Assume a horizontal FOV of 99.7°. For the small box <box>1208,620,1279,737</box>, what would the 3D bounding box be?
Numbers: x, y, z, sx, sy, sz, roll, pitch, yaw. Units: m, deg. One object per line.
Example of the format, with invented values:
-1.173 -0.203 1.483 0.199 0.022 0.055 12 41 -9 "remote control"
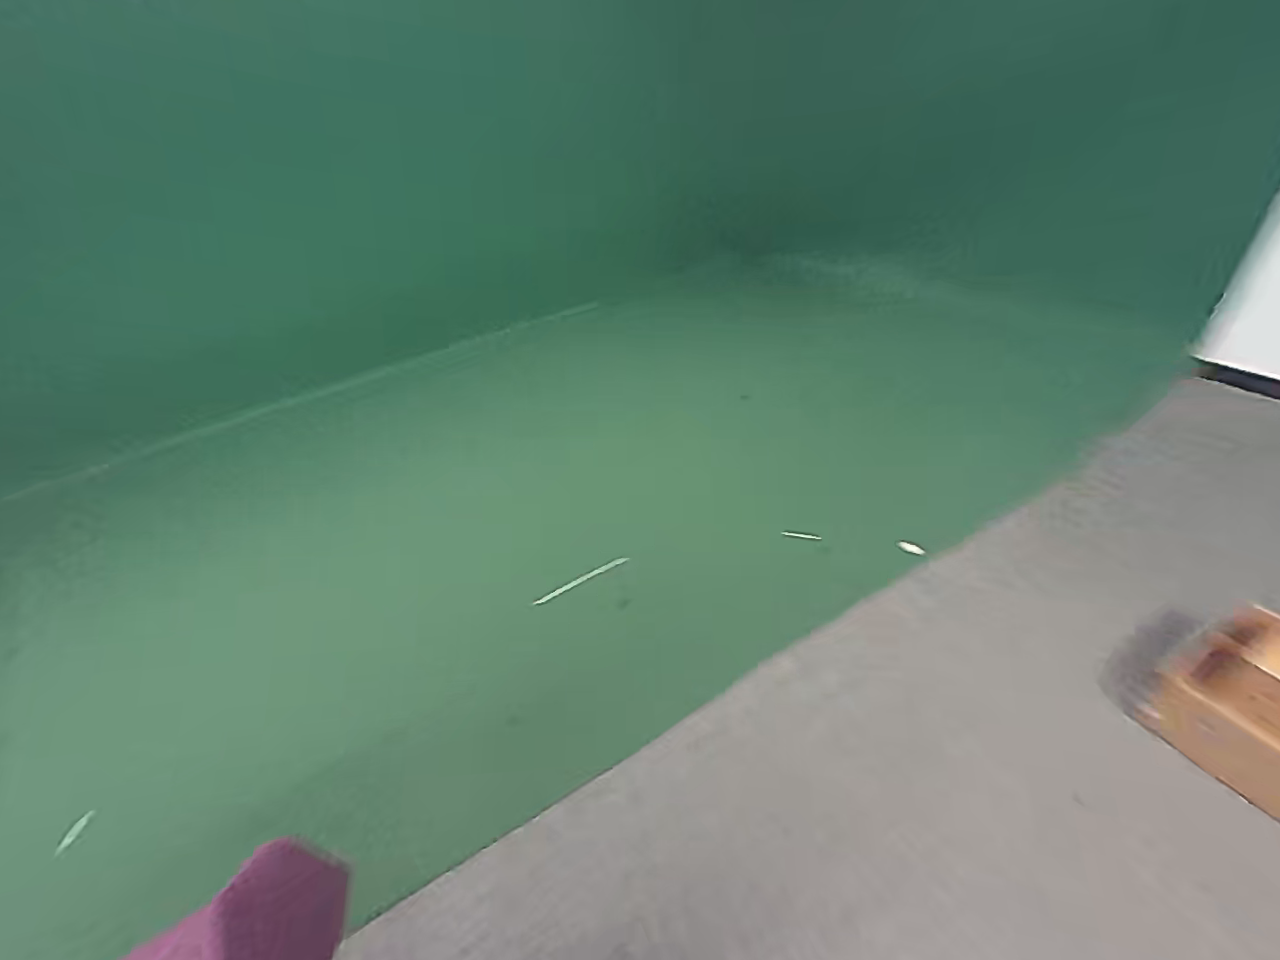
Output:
1.539 0.480 1.299 0.179 0.176 0.168 -23 42 -16 "small box"
